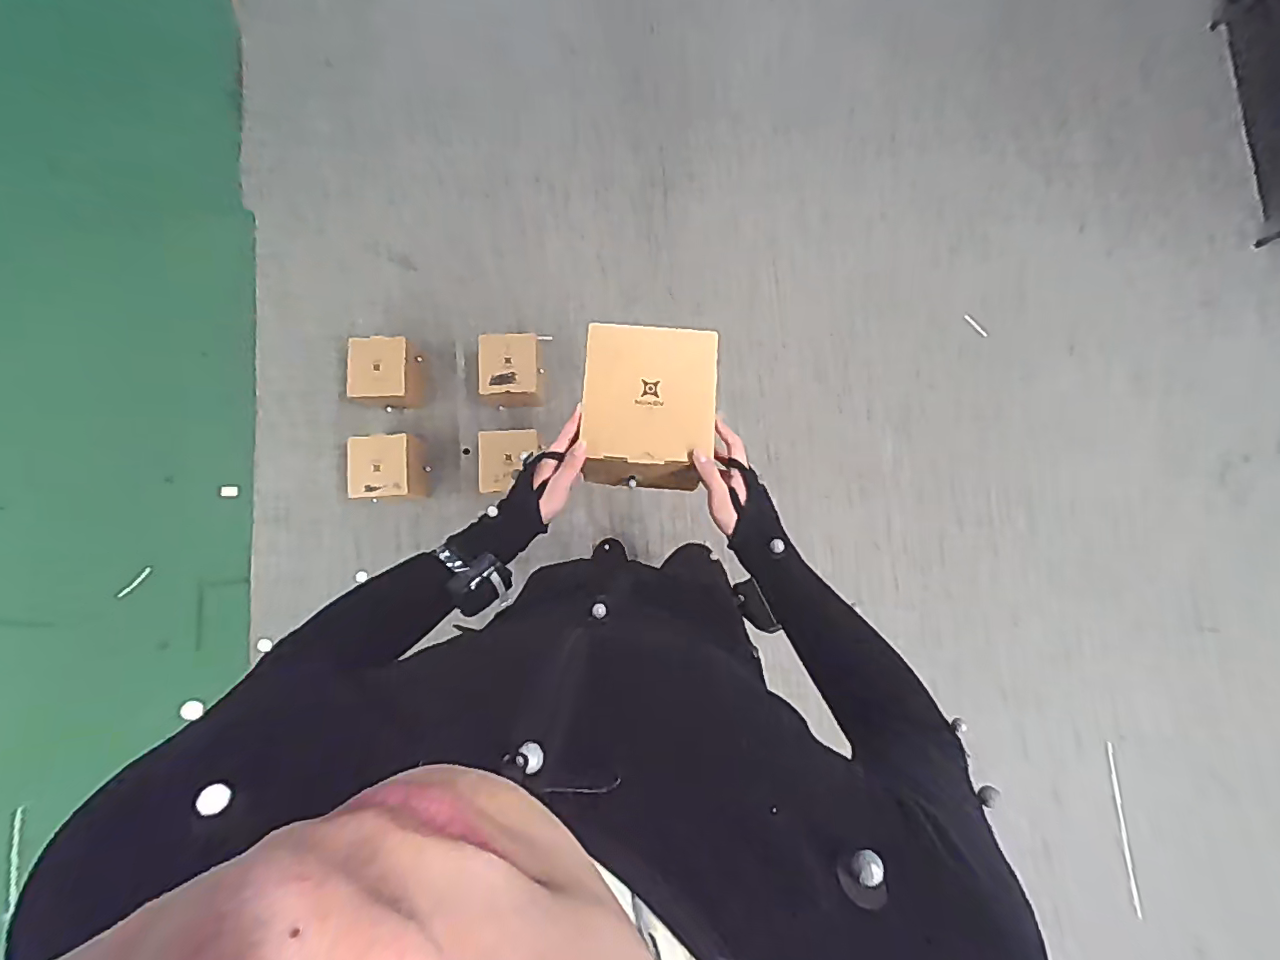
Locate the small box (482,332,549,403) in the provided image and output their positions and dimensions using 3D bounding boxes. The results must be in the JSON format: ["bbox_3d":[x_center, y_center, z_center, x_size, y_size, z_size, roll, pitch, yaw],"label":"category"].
[{"bbox_3d":[-0.367,-0.330,1.621,0.168,0.176,0.179,-1,83,-1],"label":"small box"}]

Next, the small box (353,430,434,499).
[{"bbox_3d":[-0.716,-0.041,1.587,0.168,0.176,0.179,-3,83,0],"label":"small box"}]

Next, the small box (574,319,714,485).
[{"bbox_3d":[0.003,-0.097,0.744,0.168,0.176,0.179,4,80,-1],"label":"small box"}]

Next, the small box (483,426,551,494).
[{"bbox_3d":[-0.359,-0.054,1.591,0.168,0.176,0.179,-2,84,0],"label":"small box"}]
